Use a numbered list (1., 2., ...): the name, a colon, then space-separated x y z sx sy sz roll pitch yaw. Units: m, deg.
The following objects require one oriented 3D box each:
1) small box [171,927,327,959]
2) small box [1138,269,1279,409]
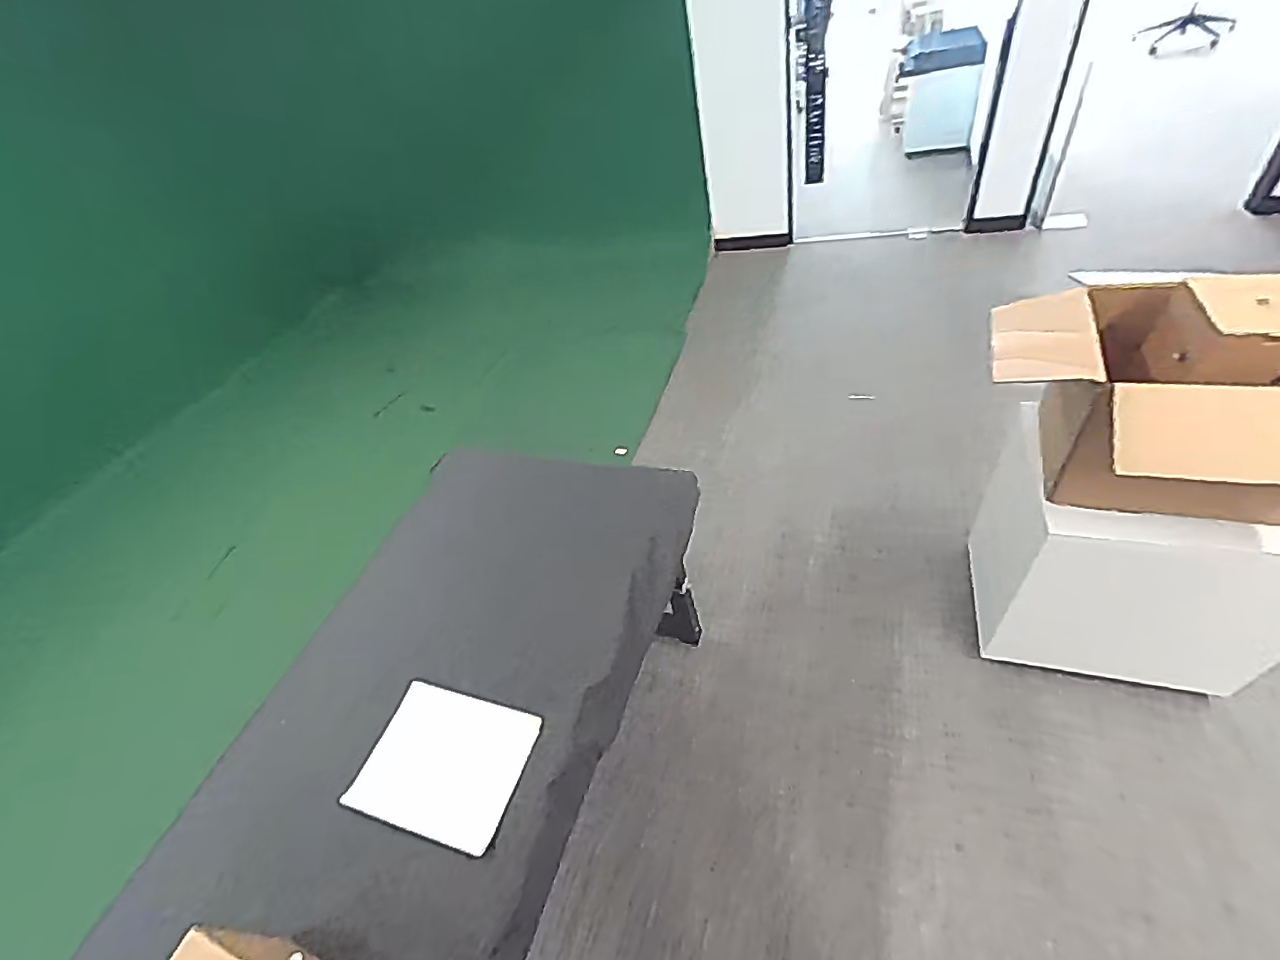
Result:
1. small box: -0.445 0.636 0.603 0.179 0.176 0.168 6 49 22
2. small box: 1.005 -0.237 0.917 0.168 0.176 0.179 6 48 18
